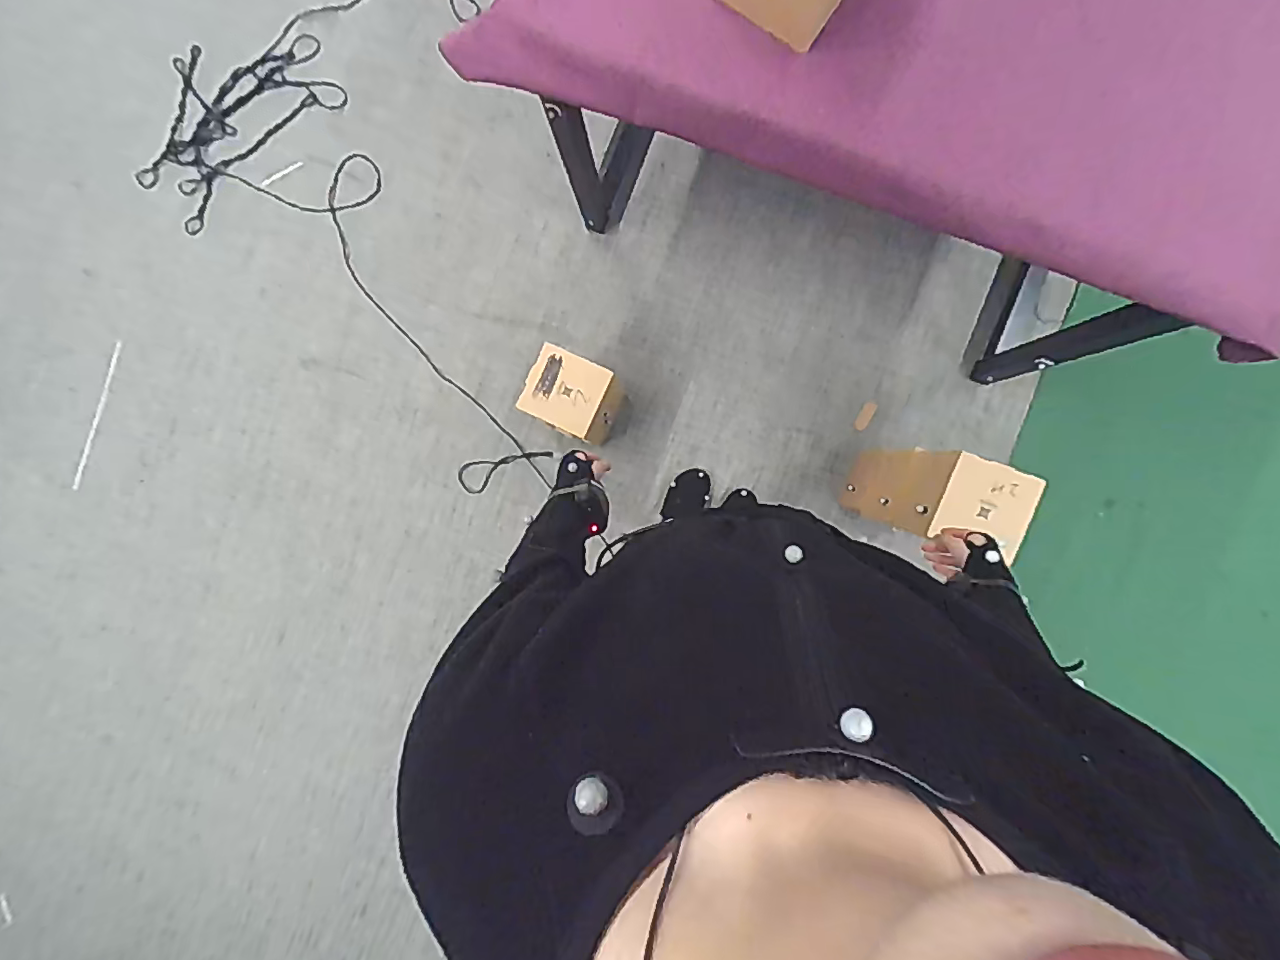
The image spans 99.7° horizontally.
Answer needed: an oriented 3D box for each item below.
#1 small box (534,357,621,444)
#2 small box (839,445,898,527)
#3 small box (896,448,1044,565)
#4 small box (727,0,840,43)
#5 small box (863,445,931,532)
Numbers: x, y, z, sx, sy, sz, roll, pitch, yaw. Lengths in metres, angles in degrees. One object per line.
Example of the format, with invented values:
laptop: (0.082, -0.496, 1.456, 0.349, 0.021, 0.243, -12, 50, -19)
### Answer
small box: (-0.158, -0.204, 1.446, 0.168, 0.176, 0.179, 25, 93, 2)
small box: (0.646, 0.022, 1.404, 0.179, 0.176, 0.168, 23, 92, 2)
small box: (0.641, 0.047, 1.078, 0.168, 0.176, 0.179, 21, 93, 2)
small box: (0.204, -0.724, 0.692, 0.179, 0.176, 0.168, 35, 93, 2)
small box: (0.641, 0.028, 1.242, 0.168, 0.176, 0.179, 20, 94, 3)
